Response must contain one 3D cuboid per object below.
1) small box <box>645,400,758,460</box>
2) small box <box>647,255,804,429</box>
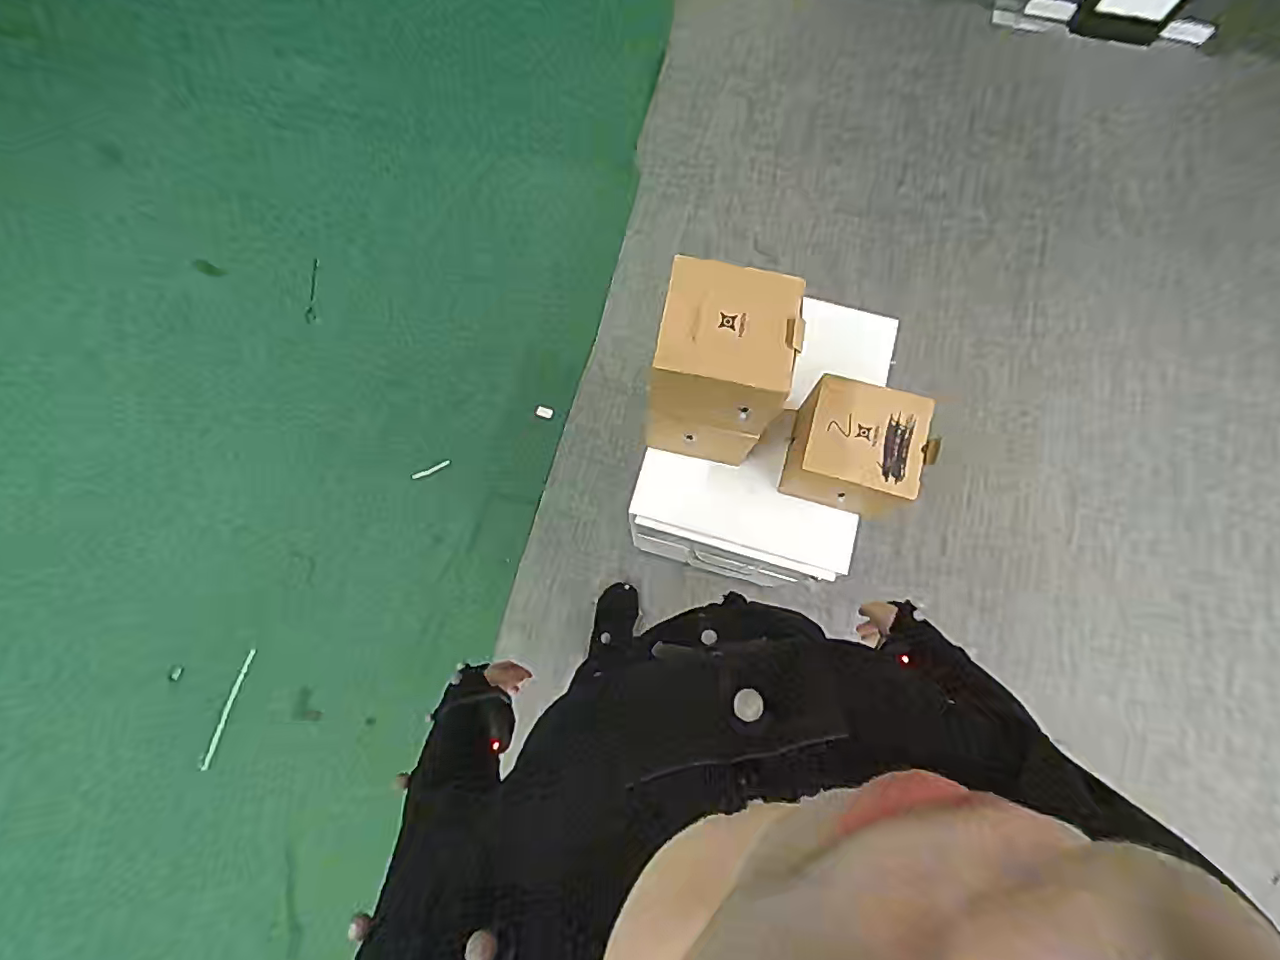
[{"bbox_3d":[0.109,-0.143,0.919,0.179,0.176,0.168,12,78,3],"label":"small box"},{"bbox_3d":[0.111,-0.181,0.761,0.179,0.176,0.168,10,76,2],"label":"small box"}]
